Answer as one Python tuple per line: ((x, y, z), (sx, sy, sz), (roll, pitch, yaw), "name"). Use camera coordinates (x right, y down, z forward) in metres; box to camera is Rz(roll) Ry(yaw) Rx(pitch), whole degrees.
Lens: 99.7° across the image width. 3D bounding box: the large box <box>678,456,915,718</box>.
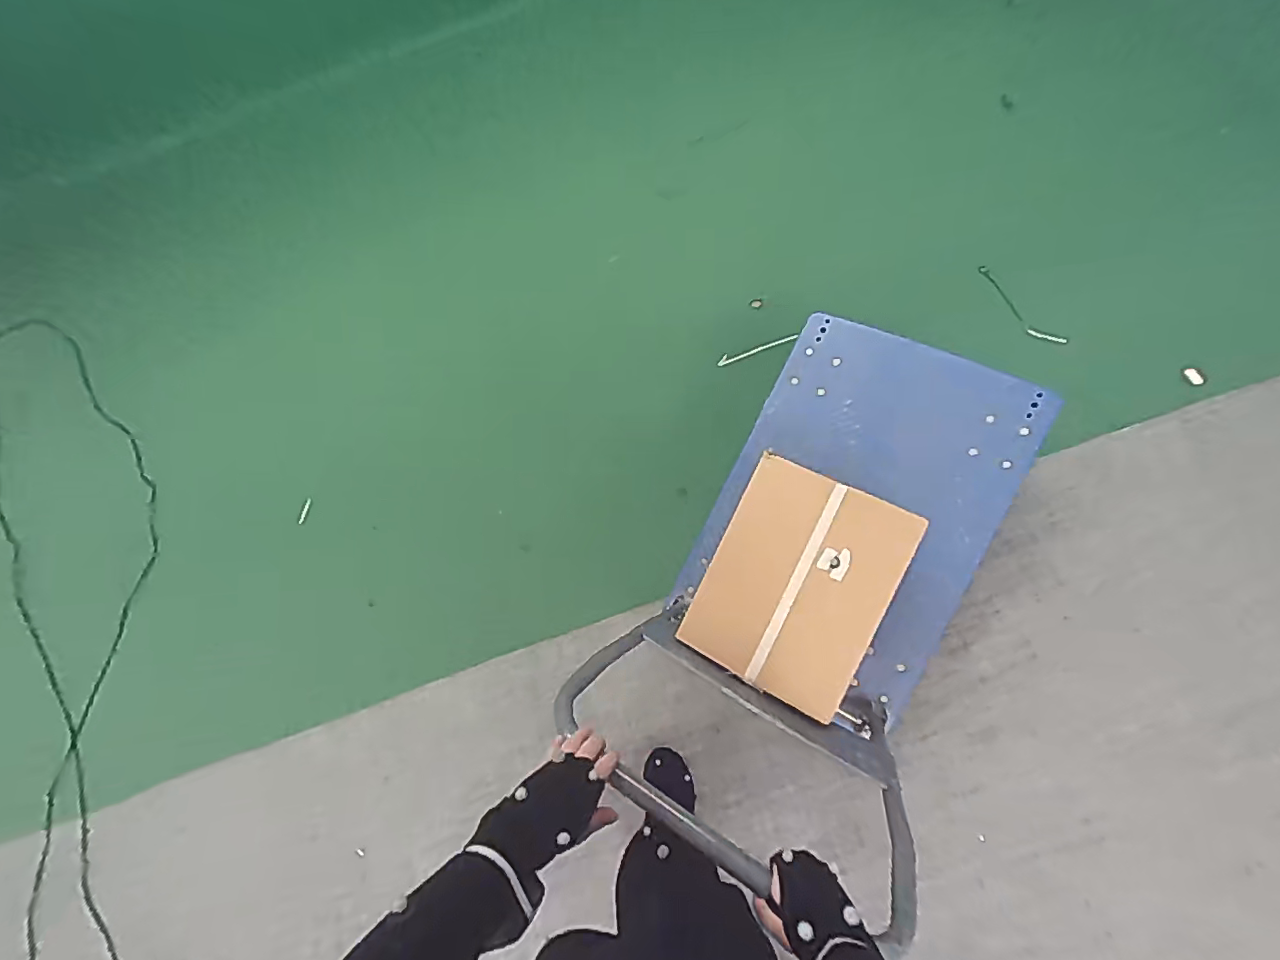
((0.330, 0.213, 1.157), (0.320, 0.320, 0.408), (26, 91, 19), "large box")
